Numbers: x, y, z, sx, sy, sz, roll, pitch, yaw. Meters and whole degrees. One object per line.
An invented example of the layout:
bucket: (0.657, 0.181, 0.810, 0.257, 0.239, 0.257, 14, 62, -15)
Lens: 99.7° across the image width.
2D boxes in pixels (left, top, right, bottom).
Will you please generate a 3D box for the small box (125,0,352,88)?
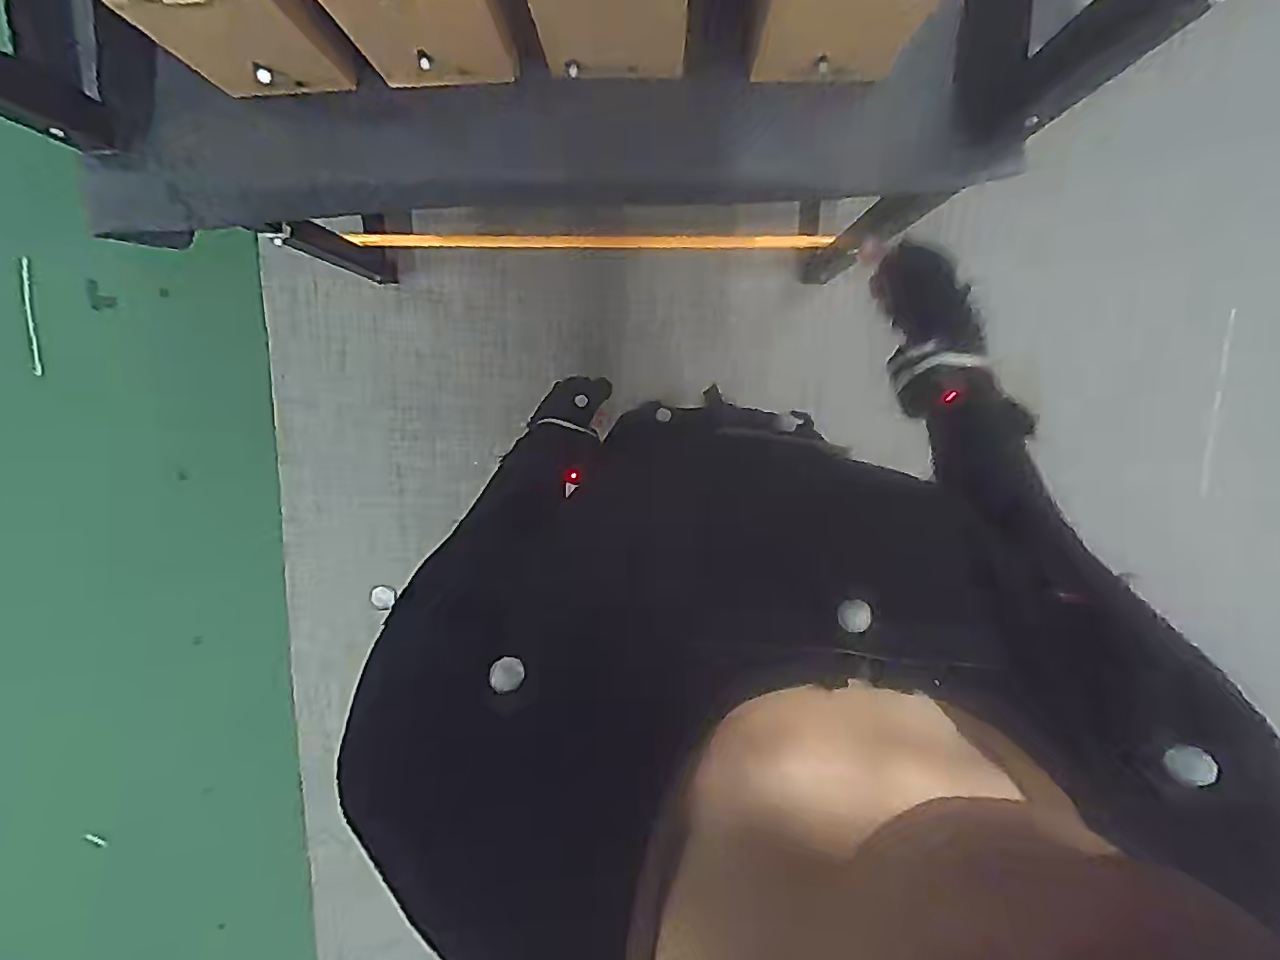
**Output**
small box: (-0.445, -0.572, 0.591, 0.168, 0.176, 0.179, -1, 98, 2)
